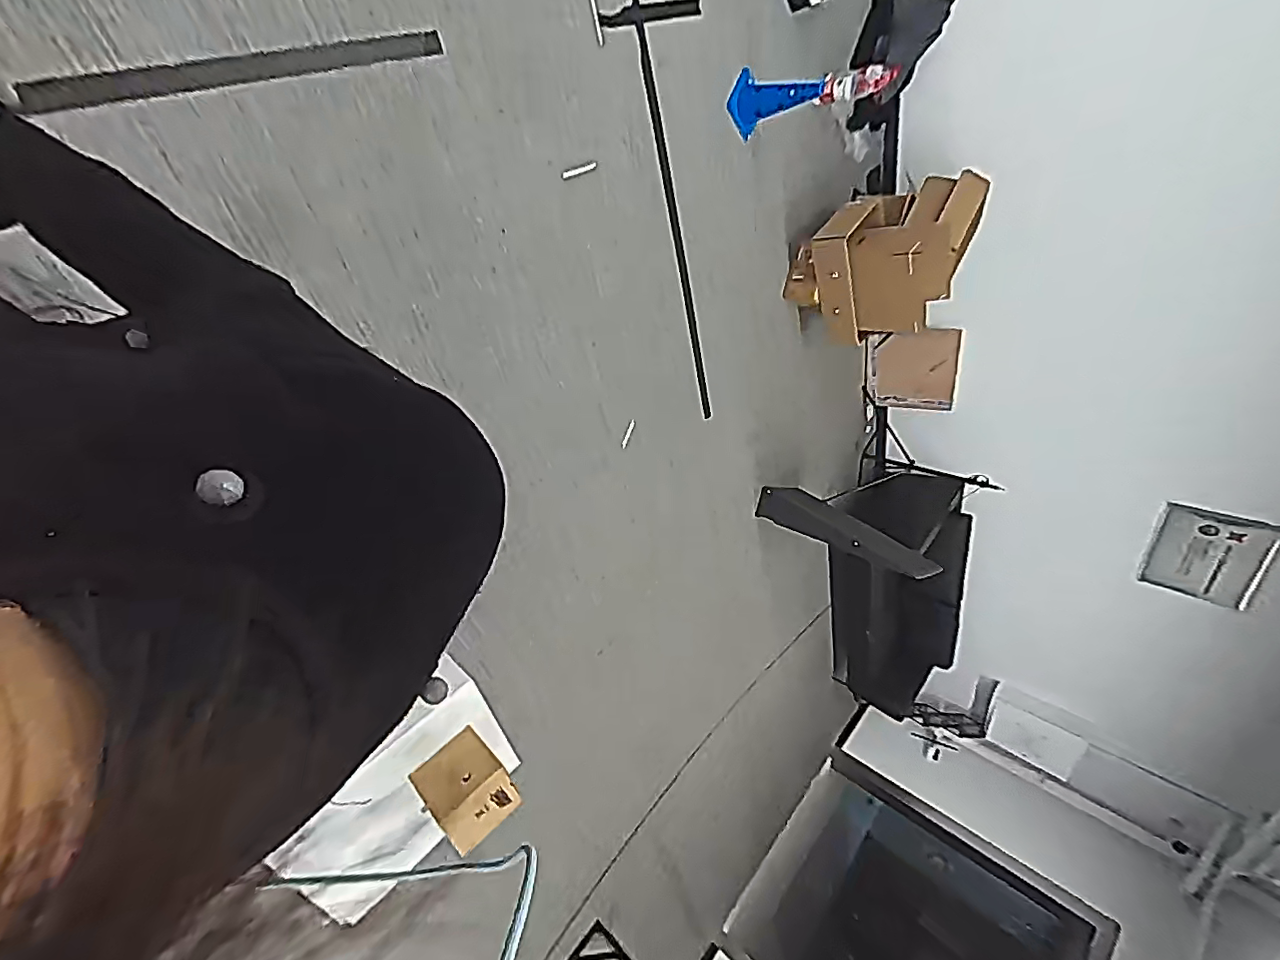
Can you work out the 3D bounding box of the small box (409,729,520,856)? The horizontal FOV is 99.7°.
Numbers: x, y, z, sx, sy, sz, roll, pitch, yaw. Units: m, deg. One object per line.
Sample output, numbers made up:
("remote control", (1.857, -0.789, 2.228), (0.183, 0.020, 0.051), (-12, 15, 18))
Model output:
("small box", (-0.430, 0.756, 1.328), (0.179, 0.176, 0.168), (-35, 128, -32))
